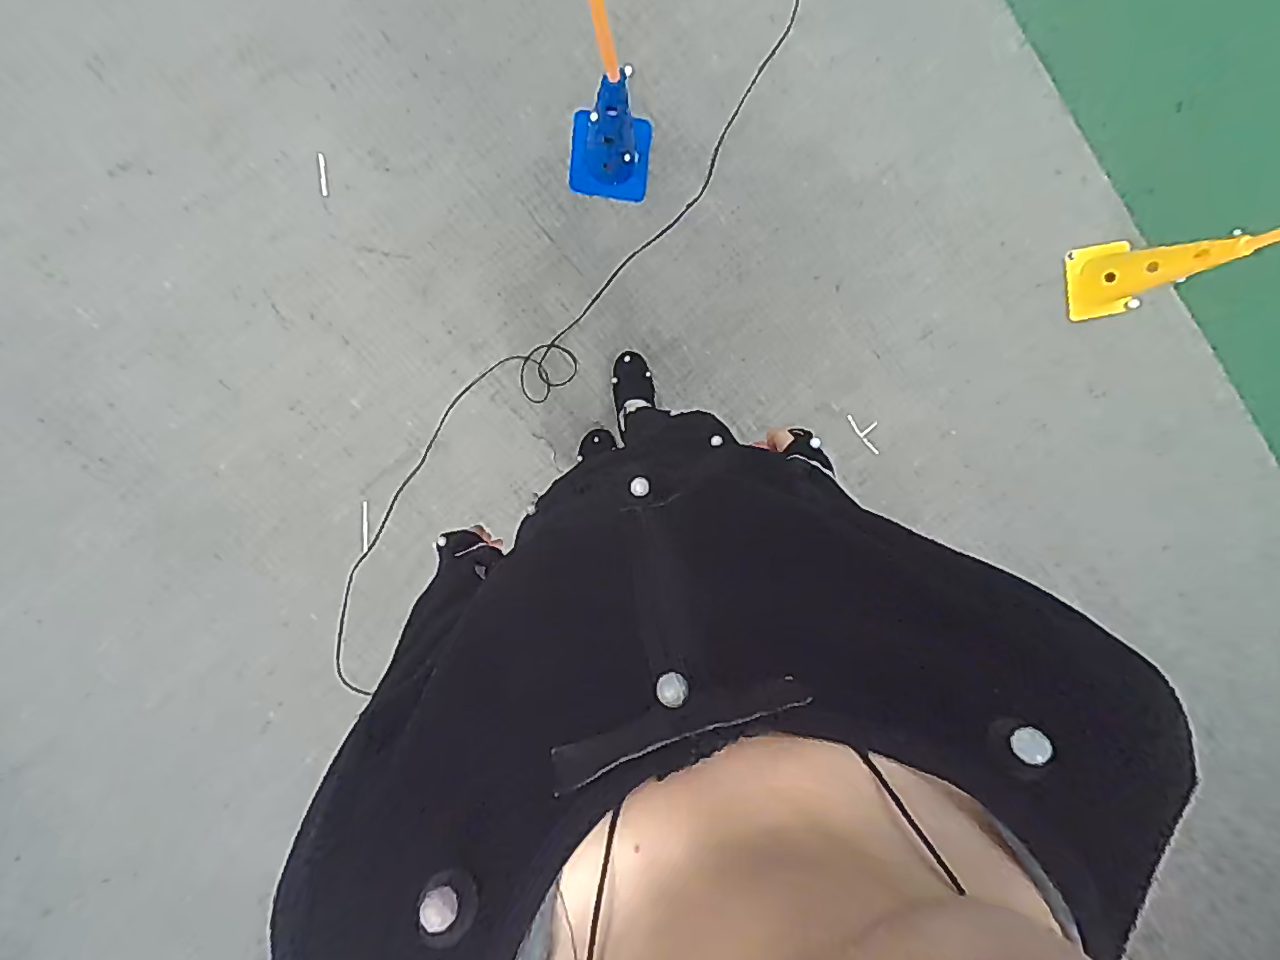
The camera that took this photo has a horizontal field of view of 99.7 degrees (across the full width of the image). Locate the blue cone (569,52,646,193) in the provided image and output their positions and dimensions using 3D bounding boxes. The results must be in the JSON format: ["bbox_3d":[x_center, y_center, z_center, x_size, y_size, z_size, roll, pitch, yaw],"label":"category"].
[{"bbox_3d":[-0.070,-0.802,1.196,0.193,0.380,0.192,4,98,-5],"label":"blue cone"}]
